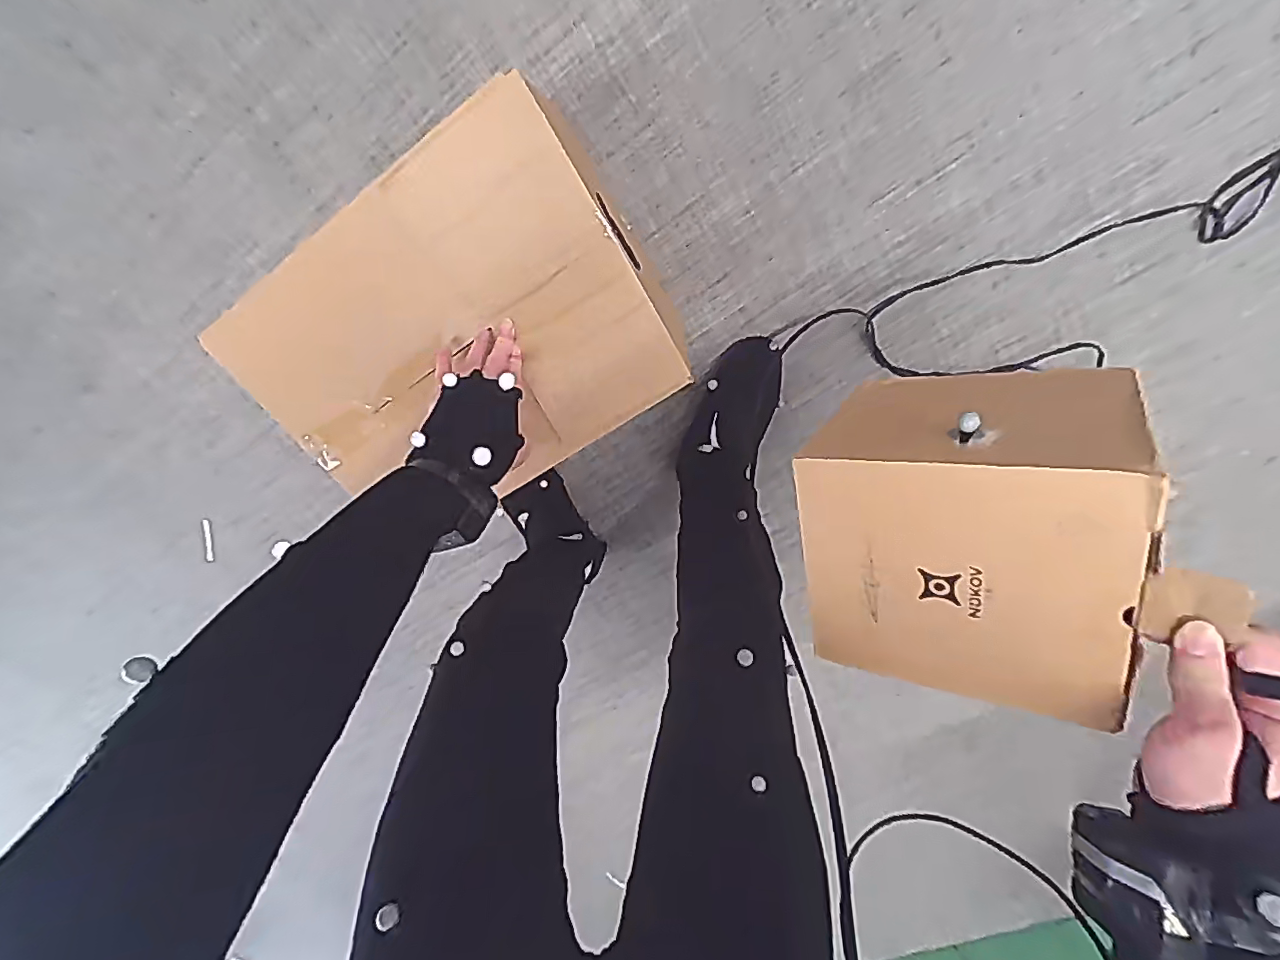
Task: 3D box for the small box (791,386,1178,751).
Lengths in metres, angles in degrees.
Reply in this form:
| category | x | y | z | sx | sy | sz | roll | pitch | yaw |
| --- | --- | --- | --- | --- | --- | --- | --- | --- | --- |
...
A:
| category | x | y | z | sx | sy | sz | roll | pitch | yaw |
| --- | --- | --- | --- | --- | --- | --- | --- | --- | --- |
| small box | 0.220 | 0.036 | 0.371 | 0.179 | 0.176 | 0.168 | 7 | 118 | 35 |
